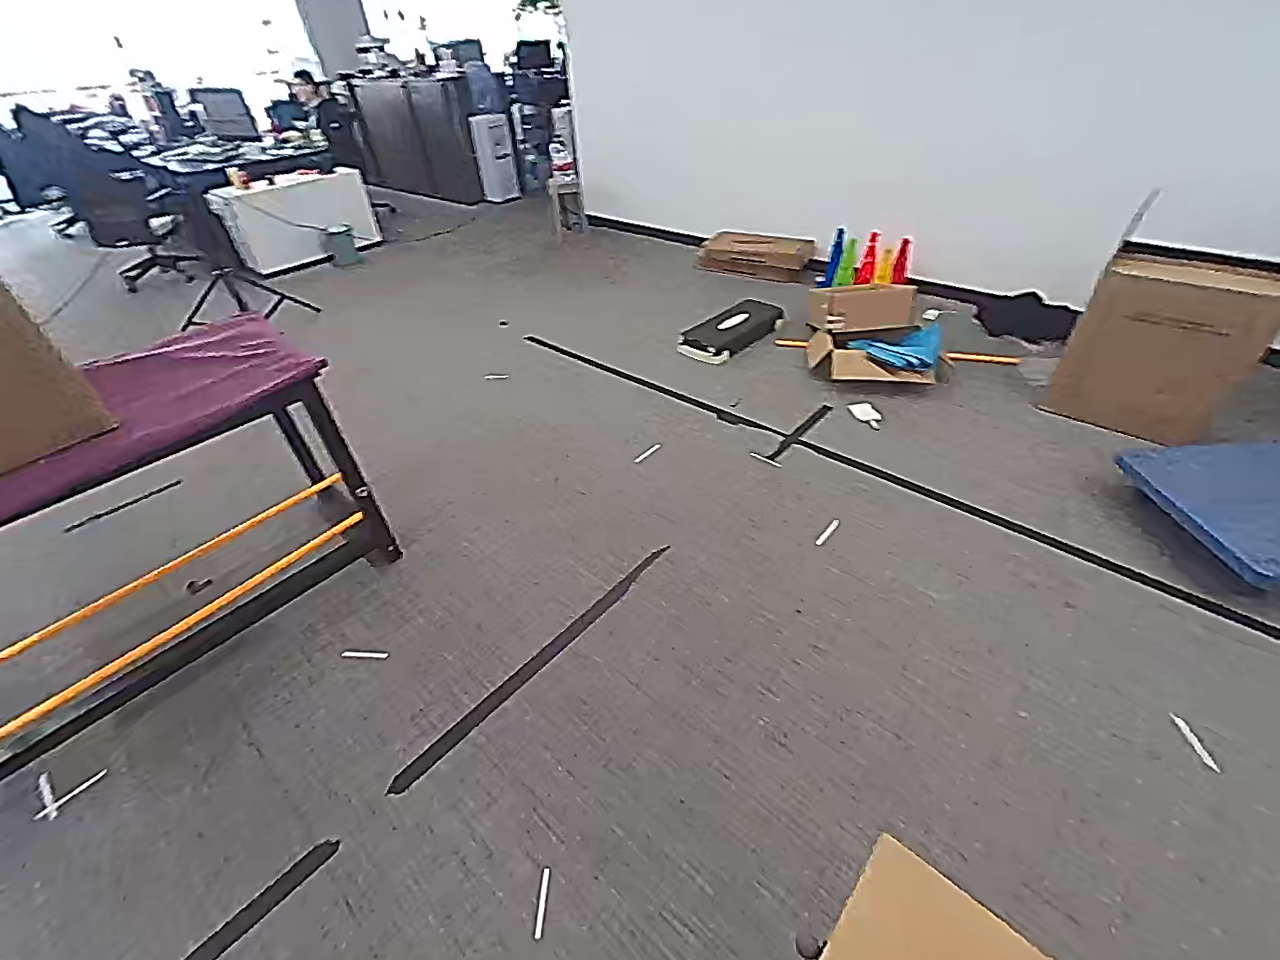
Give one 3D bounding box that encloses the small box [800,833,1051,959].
[{"bbox_3d":[0.165,0.369,0.313,0.179,0.176,0.168,28,40,34],"label":"small box"}]
